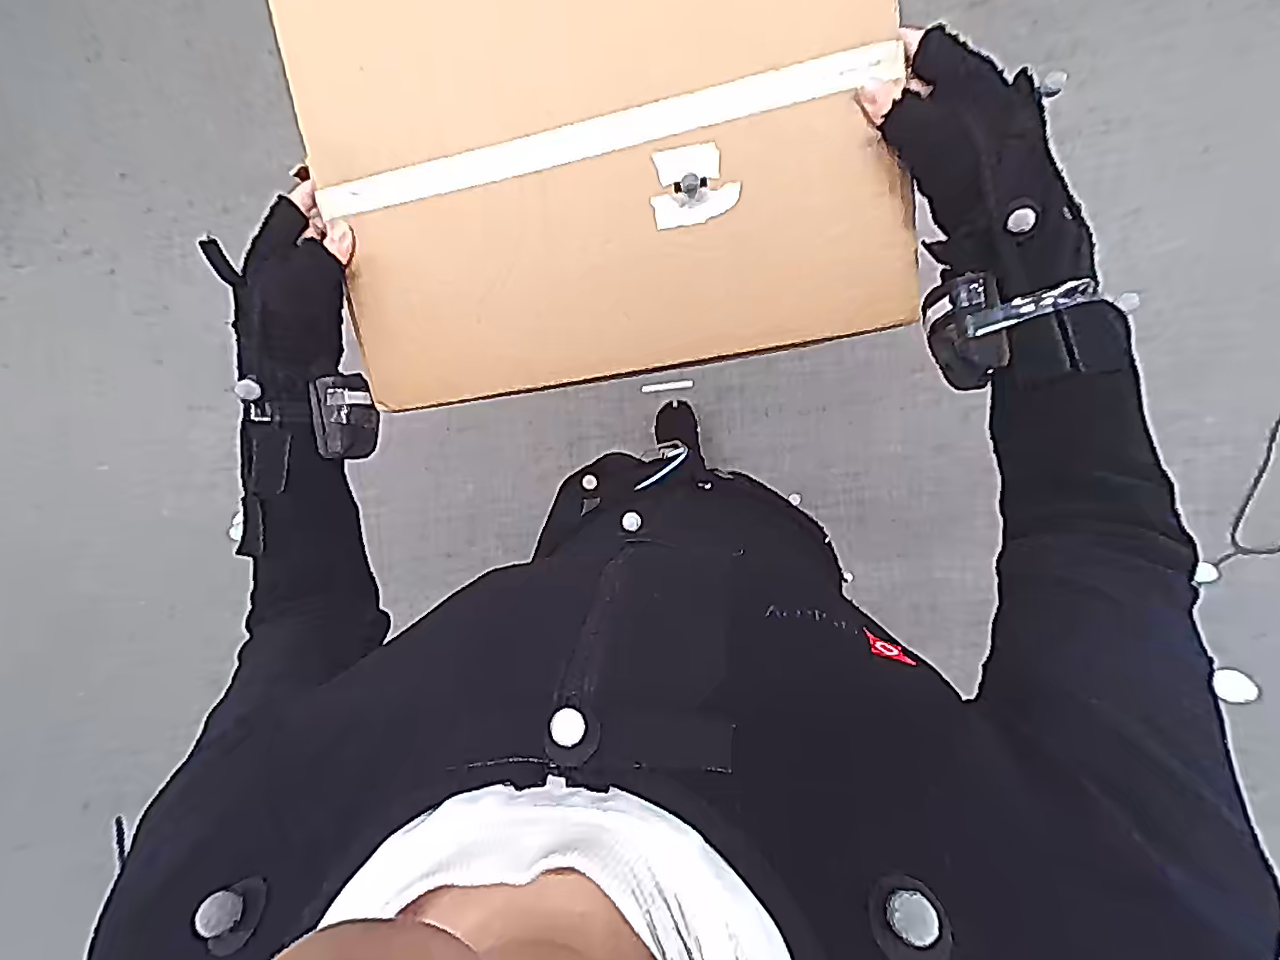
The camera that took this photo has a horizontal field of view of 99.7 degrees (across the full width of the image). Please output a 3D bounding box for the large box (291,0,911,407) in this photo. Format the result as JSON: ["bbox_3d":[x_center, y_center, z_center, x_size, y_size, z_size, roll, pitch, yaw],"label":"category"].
[{"bbox_3d":[-0.014,-0.267,0.524,0.408,0.320,0.320,-9,101,9],"label":"large box"}]
